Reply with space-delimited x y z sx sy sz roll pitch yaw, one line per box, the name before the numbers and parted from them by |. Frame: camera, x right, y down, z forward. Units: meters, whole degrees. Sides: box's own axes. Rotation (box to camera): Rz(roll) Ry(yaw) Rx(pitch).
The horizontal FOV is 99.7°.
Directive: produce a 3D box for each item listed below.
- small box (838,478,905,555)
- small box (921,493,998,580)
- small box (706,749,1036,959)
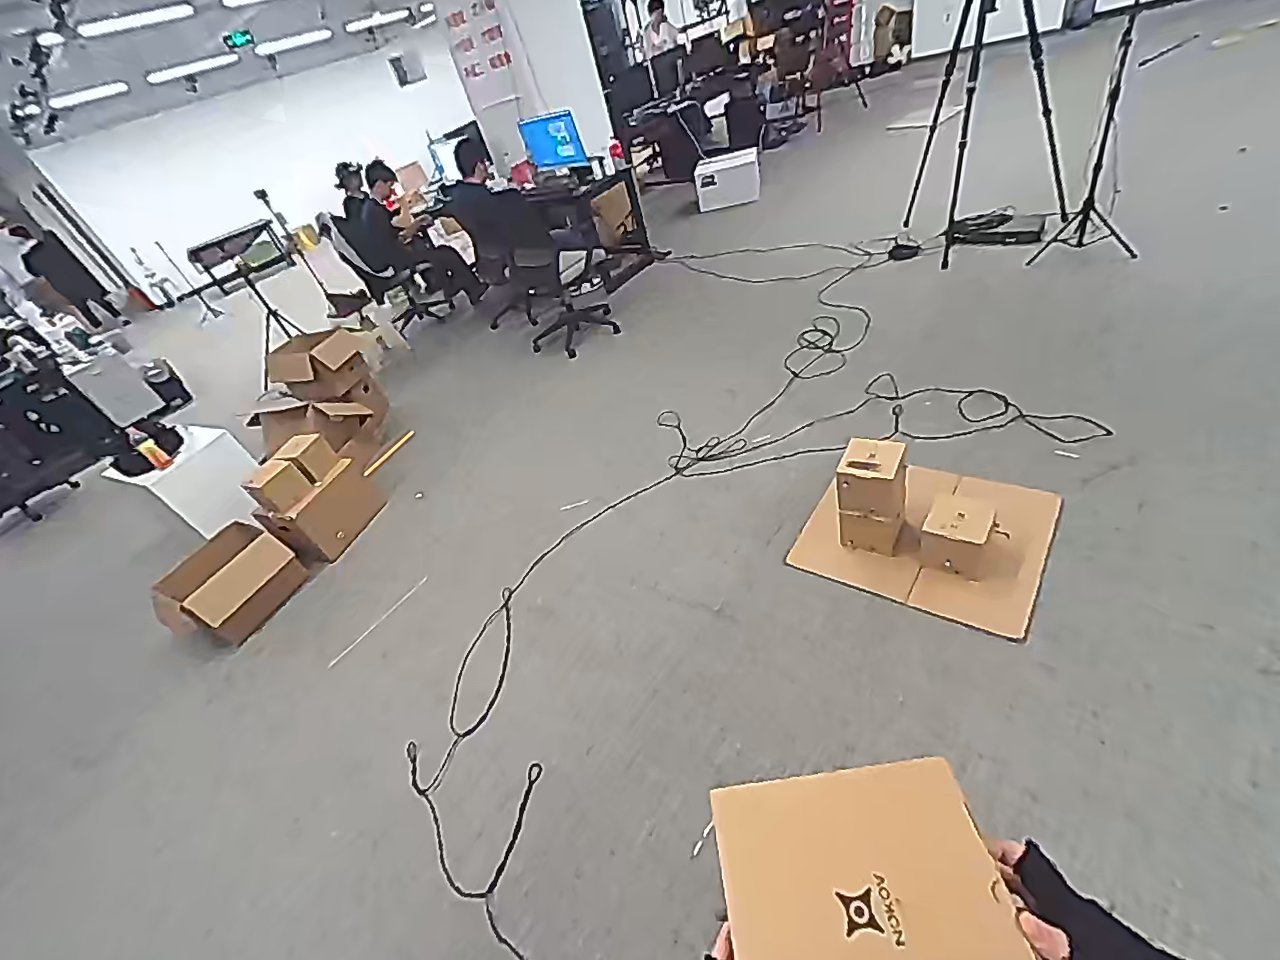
small box | 0.776 0.122 1.802 0.168 0.176 0.179 12 48 34
small box | 0.975 0.173 1.657 0.168 0.176 0.179 15 51 38
small box | 0.154 0.323 0.393 0.179 0.176 0.168 -11 42 5
